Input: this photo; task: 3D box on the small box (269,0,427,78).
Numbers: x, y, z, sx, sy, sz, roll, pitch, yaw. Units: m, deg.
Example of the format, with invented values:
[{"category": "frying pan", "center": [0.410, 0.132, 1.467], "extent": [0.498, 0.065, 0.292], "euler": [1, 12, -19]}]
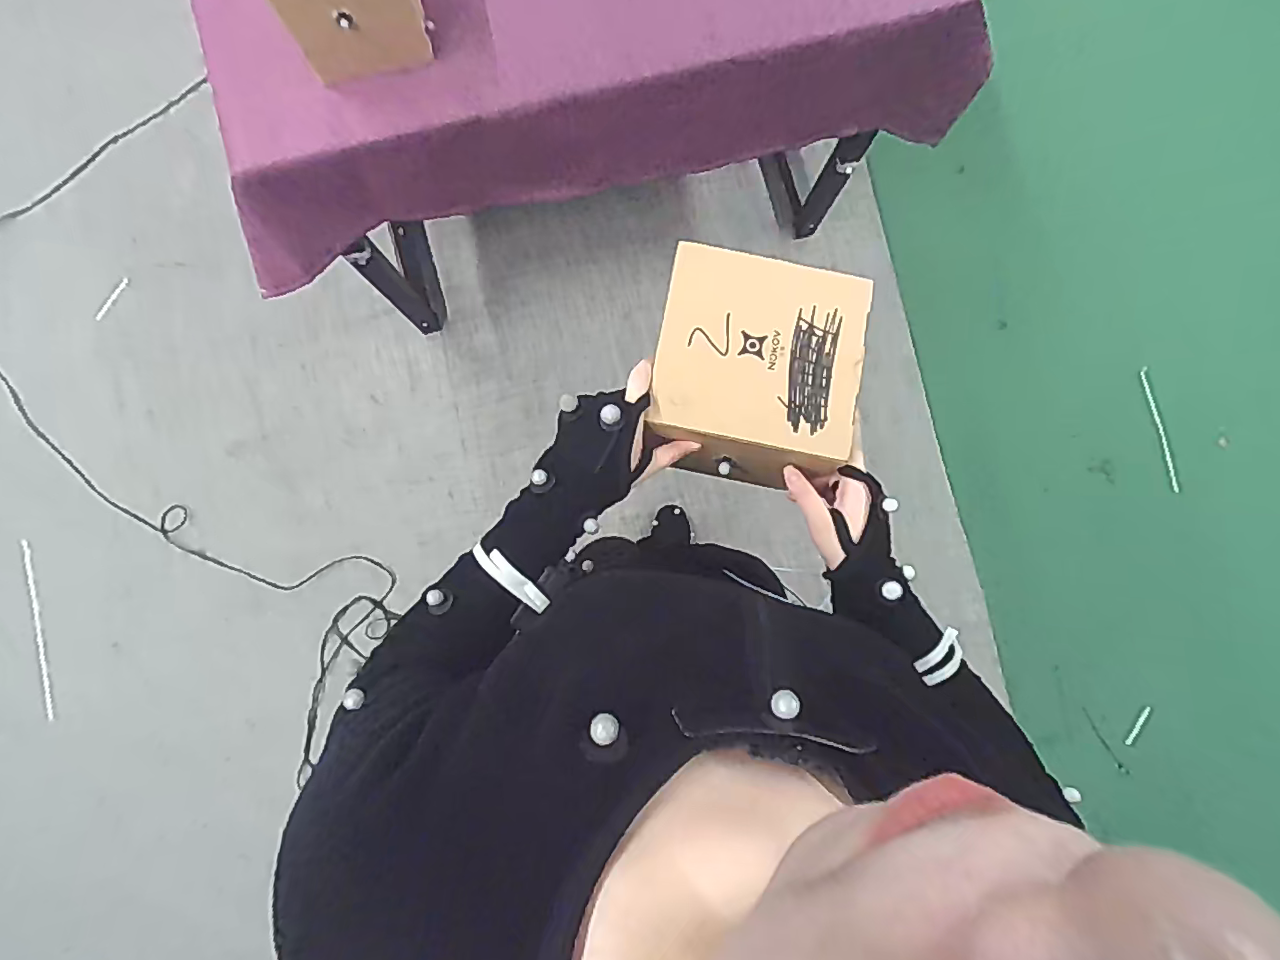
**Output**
[{"category": "small box", "center": [-0.414, -0.710, 0.752], "extent": [0.179, 0.176, 0.168], "euler": [-14, 85, -3]}]
